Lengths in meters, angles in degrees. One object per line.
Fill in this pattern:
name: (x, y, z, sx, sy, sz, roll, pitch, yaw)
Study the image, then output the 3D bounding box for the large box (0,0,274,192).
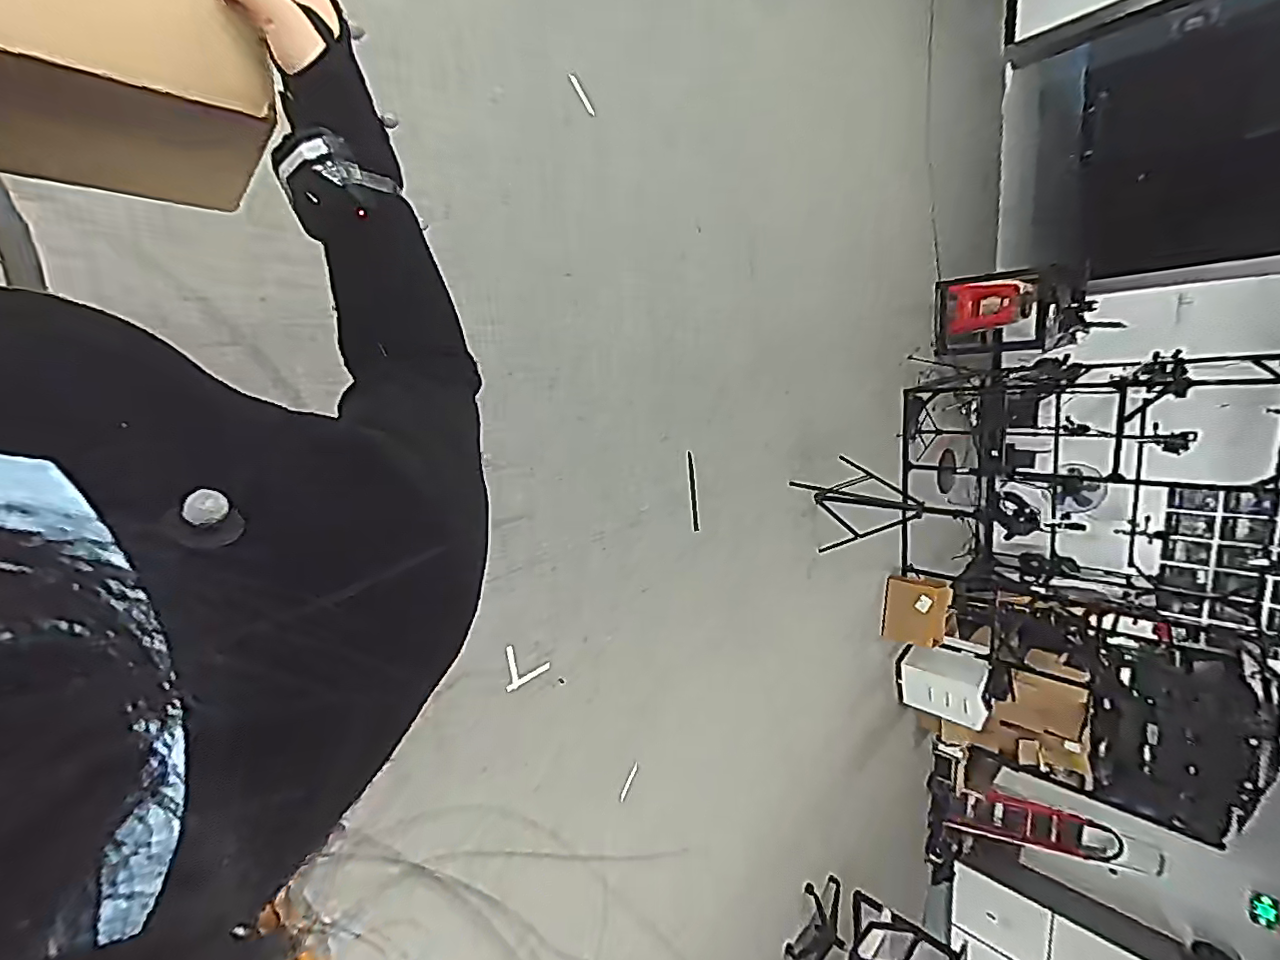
large box: (-0.539, -0.439, 0.384, 0.408, 0.320, 0.320, -10, 104, -41)
